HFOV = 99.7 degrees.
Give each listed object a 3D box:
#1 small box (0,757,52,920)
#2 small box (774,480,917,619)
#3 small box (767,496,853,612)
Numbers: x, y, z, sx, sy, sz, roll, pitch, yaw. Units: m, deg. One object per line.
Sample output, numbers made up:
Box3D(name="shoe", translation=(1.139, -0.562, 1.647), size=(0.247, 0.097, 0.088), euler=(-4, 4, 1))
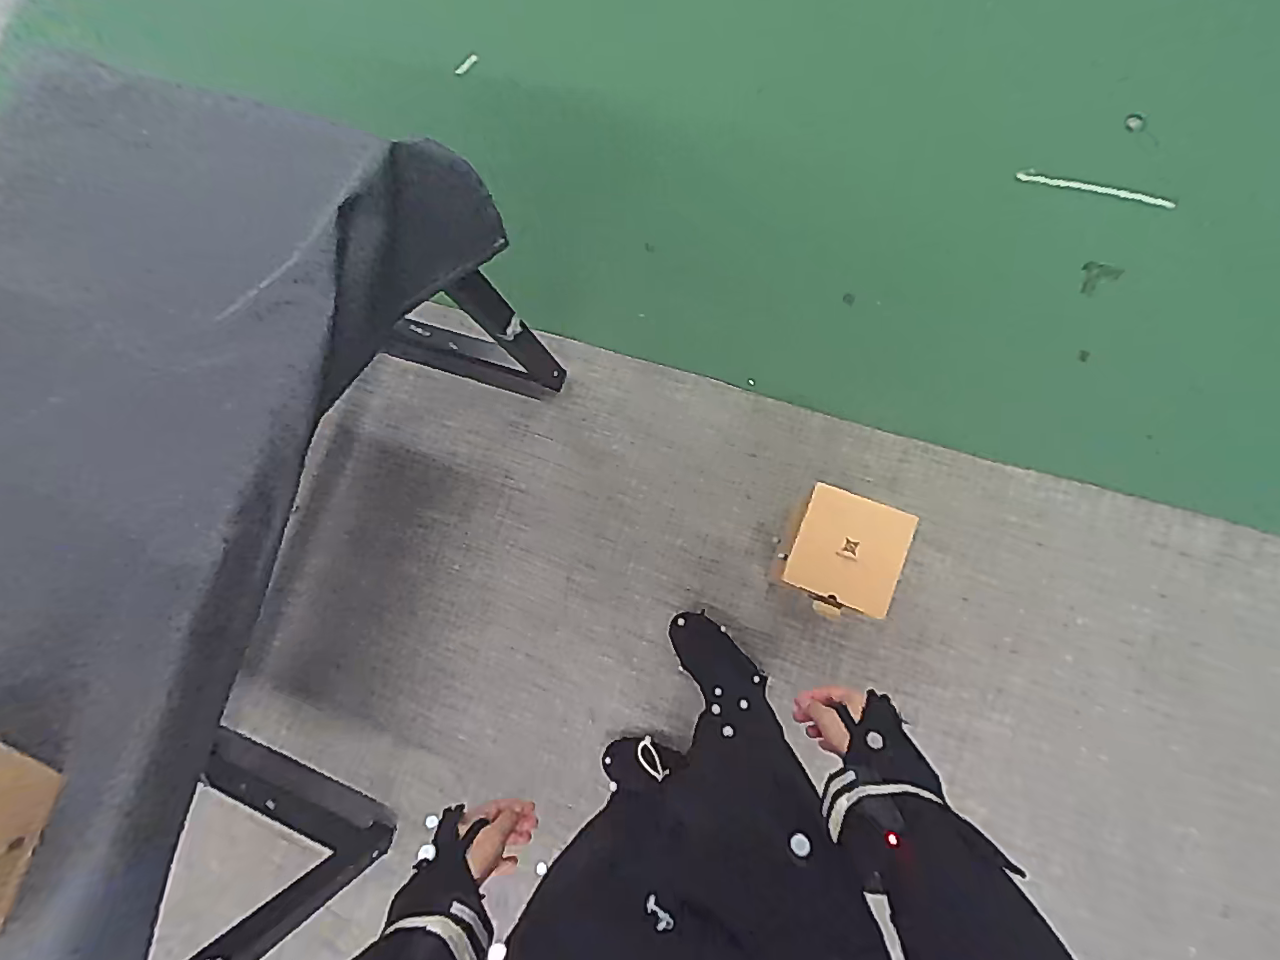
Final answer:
Box3D(name="small box", translation=(-0.707, 0.348, 0.477), size=(0.179, 0.176, 0.168), euler=(16, 84, 11))
Box3D(name="small box", translation=(0.338, 0.119, 0.926), size=(0.168, 0.176, 0.179), euler=(20, 85, 11))
Box3D(name="small box", translation=(0.361, 0.147, 1.087), size=(0.168, 0.176, 0.179), euler=(18, 85, 11))
